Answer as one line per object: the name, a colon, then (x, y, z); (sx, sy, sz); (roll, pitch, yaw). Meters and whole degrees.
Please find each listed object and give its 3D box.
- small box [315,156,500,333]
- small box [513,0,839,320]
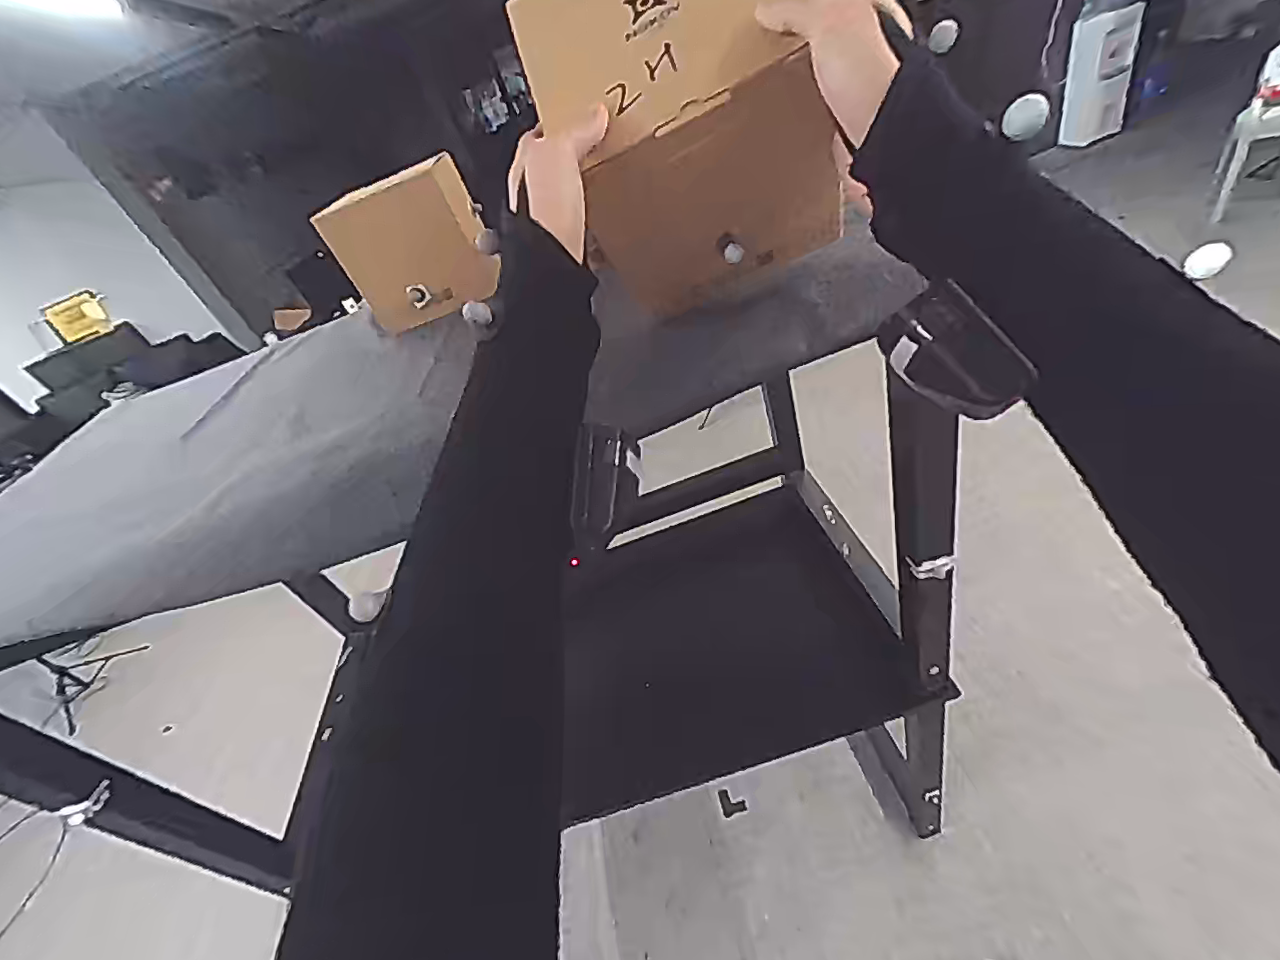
small box: (-0.313, -0.336, 0.773); (0.168, 0.176, 0.179); (-21, 37, 4)
small box: (0.033, -0.255, 0.398); (0.168, 0.176, 0.179); (-22, 70, 15)
